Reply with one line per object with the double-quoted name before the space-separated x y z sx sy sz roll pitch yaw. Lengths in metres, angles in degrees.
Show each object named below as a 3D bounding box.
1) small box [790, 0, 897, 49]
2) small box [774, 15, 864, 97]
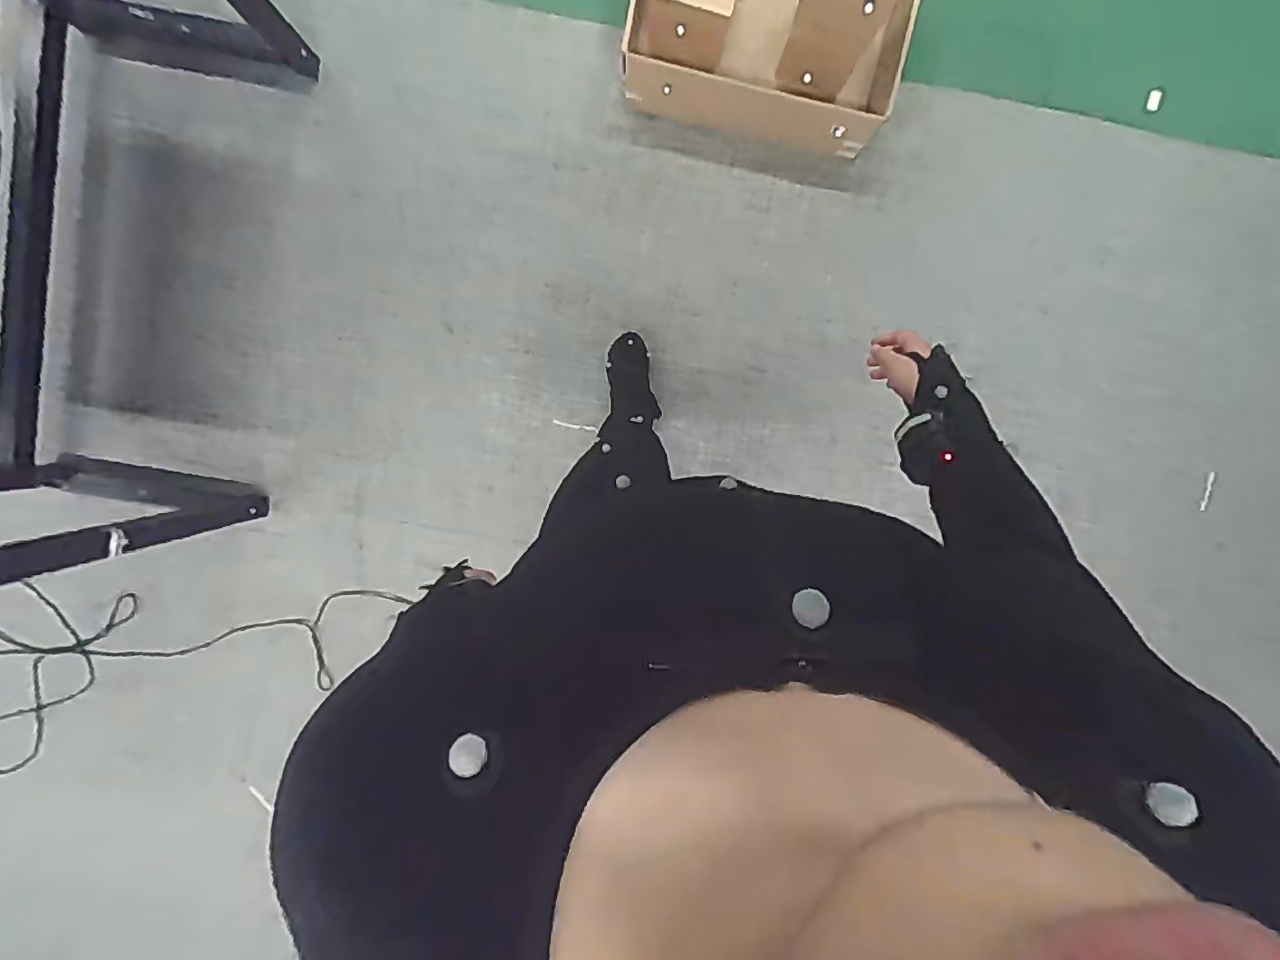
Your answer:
"small box" 0.424 -1.004 1.064 0.179 0.176 0.168 19 96 -3
"small box" 0.422 -1.027 1.227 0.168 0.176 0.179 18 97 -3
